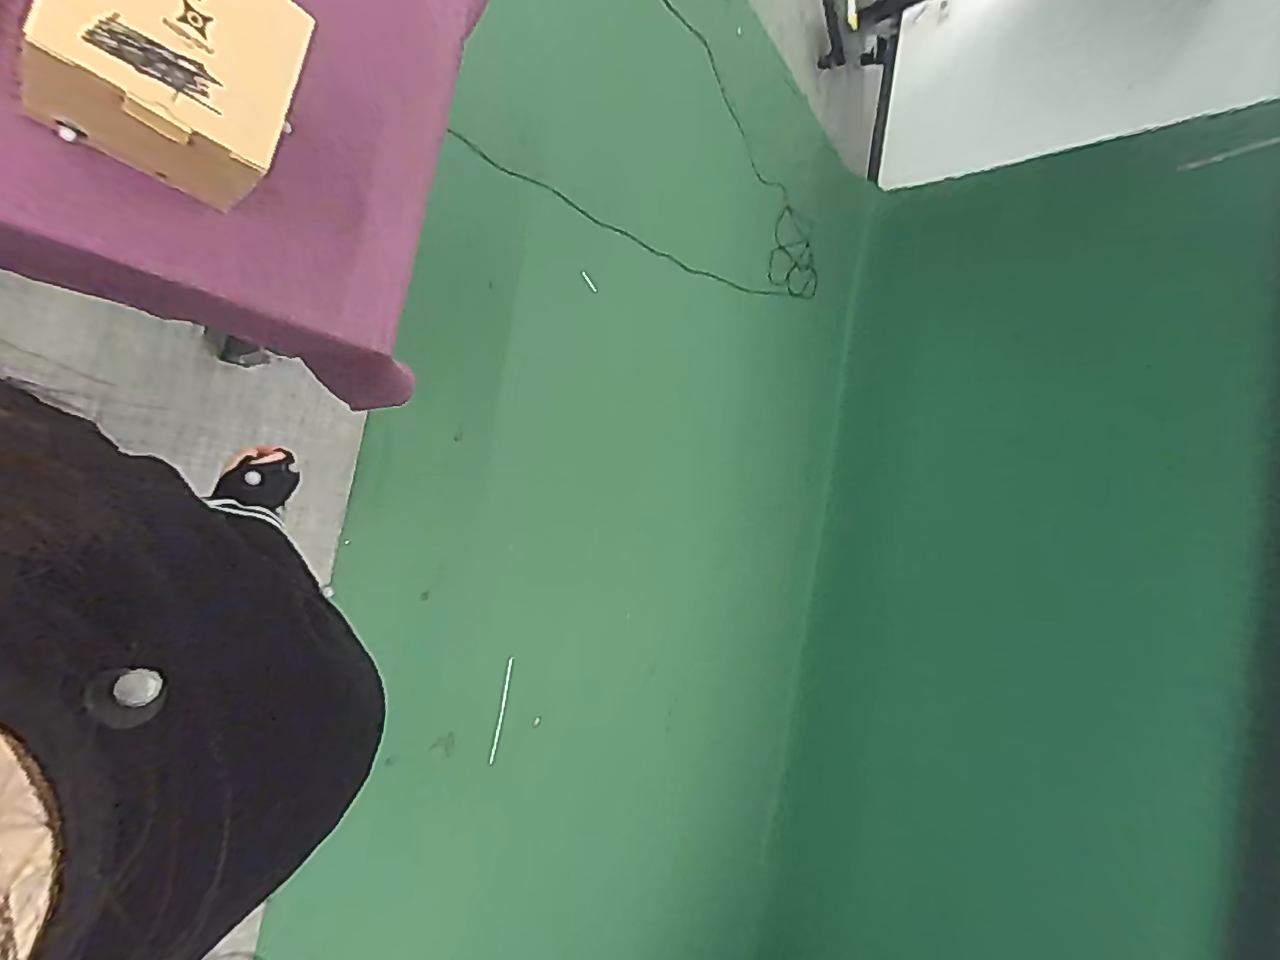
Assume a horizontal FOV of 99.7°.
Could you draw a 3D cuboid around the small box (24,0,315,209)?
[{"bbox_3d":[-0.459,-0.404,0.535,0.168,0.176,0.179,19,79,-48],"label":"small box"}]
